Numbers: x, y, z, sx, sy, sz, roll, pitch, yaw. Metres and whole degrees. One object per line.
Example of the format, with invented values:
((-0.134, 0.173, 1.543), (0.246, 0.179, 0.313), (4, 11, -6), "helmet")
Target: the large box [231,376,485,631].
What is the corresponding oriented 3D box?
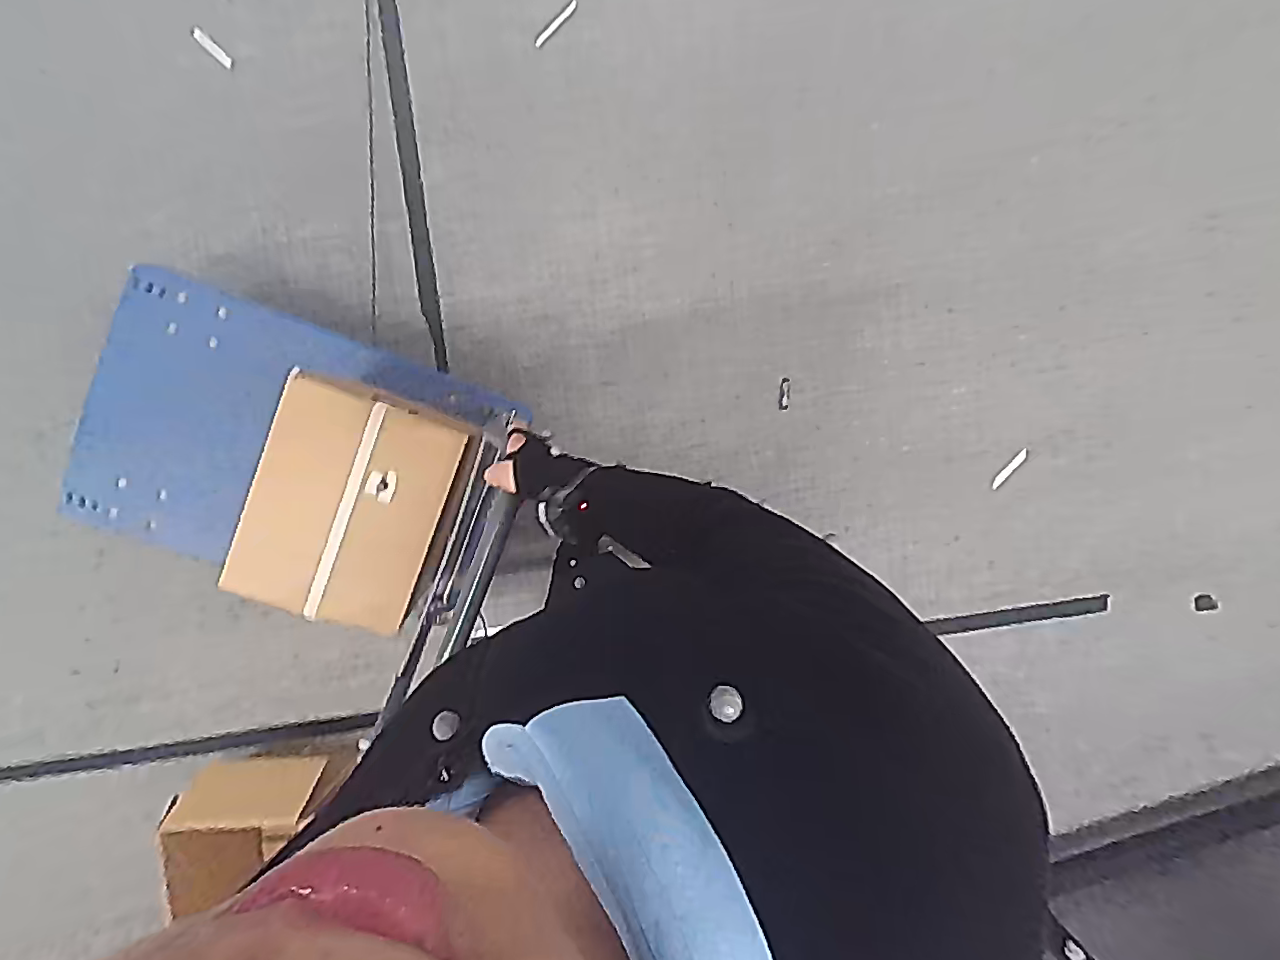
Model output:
((-0.545, 0.038, 1.117), (0.320, 0.320, 0.408), (19, 93, -12), "large box")
